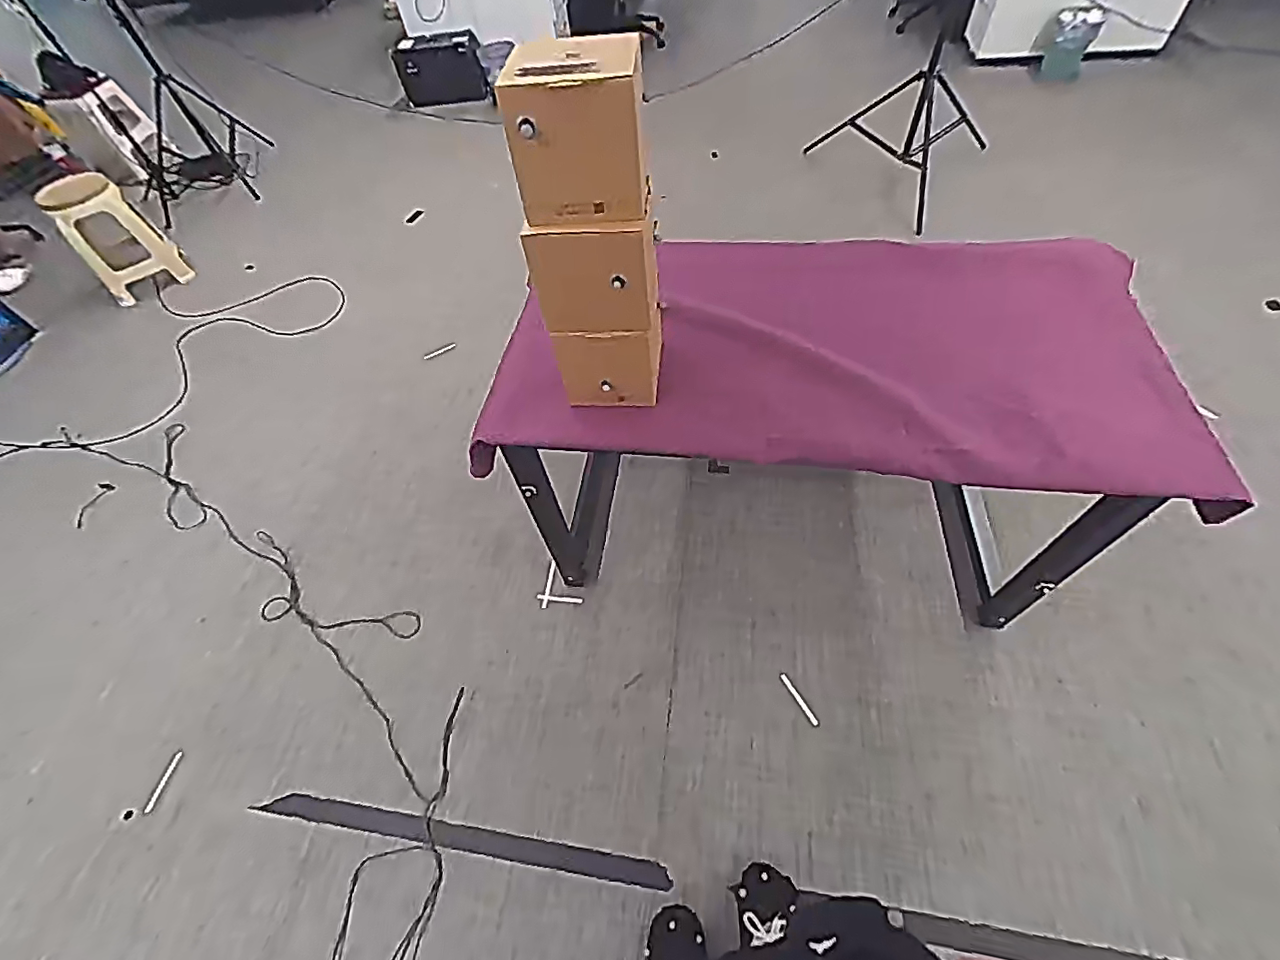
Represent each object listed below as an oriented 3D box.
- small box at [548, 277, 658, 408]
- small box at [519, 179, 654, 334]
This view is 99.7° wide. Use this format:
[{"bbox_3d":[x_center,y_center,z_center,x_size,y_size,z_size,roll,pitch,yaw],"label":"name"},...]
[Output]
[{"bbox_3d":[-0.056,-0.253,0.986,0.168,0.176,0.179,1,55,7],"label":"small box"},{"bbox_3d":[-0.071,-0.348,0.856,0.179,0.176,0.168,0,53,7],"label":"small box"}]
